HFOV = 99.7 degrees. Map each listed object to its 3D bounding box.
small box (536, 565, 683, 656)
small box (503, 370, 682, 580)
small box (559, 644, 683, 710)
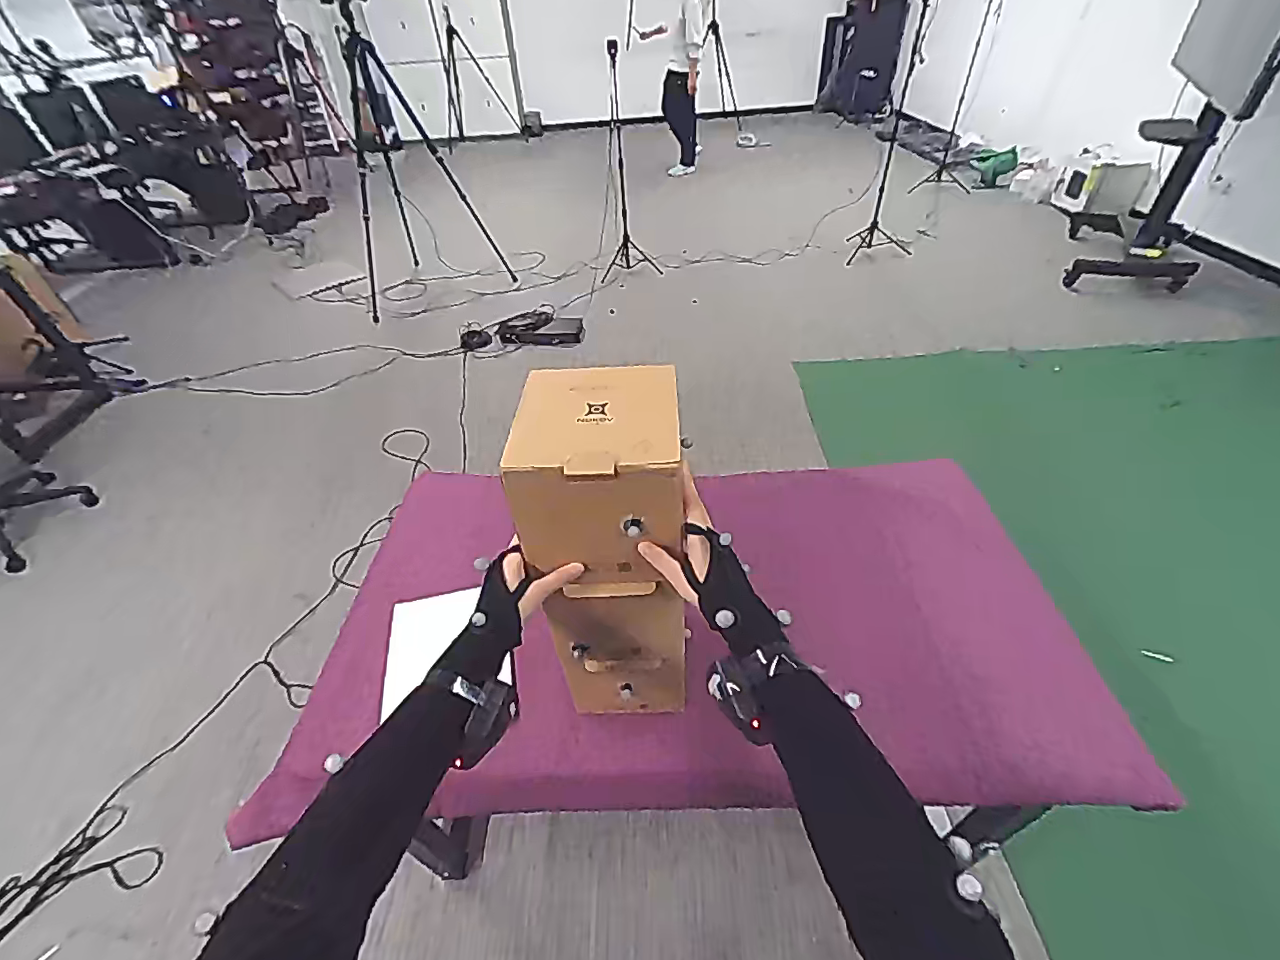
[{"bbox_3d":[-0.029,0.115,0.711,0.168,0.176,0.179,-2,40,3],"label":"small box"},{"bbox_3d":[-0.038,-0.004,0.601,0.168,0.176,0.179,-1,41,3],"label":"small box"},{"bbox_3d":[-0.020,0.234,0.825,0.168,0.176,0.179,-2,42,2],"label":"small box"}]
